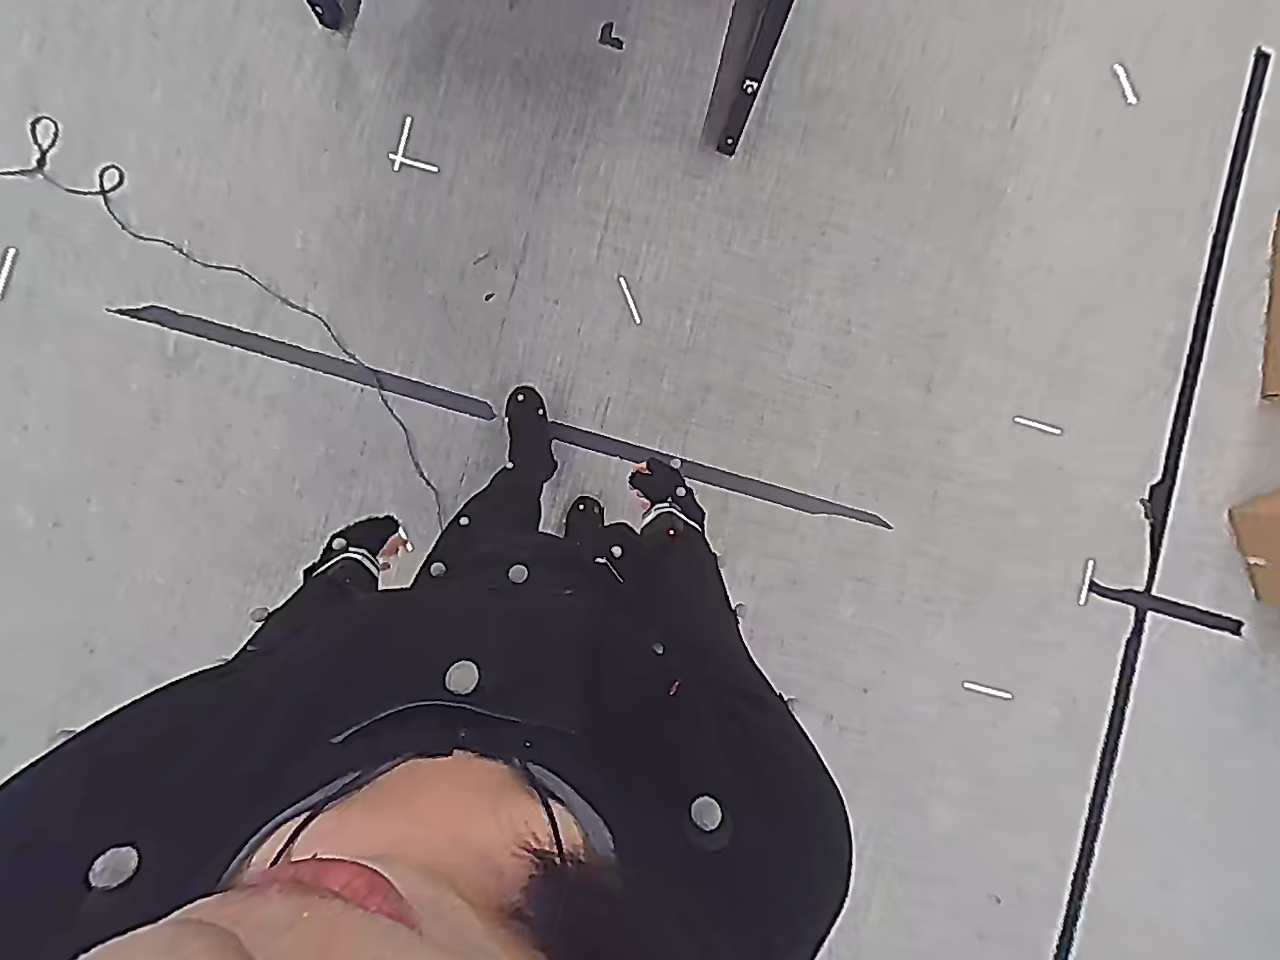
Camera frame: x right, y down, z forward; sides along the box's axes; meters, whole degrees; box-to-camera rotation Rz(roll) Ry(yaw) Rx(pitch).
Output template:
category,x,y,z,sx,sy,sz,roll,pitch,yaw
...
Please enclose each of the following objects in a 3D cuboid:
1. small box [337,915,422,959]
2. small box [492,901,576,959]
category,x,y,z,sx,sy,sz,roll,pitch,yaw
small box,-0.661,1.257,1.366,0.168,0.176,0.179,-4,88,-5
small box,-0.281,1.247,1.398,0.179,0.176,0.168,28,87,-3
